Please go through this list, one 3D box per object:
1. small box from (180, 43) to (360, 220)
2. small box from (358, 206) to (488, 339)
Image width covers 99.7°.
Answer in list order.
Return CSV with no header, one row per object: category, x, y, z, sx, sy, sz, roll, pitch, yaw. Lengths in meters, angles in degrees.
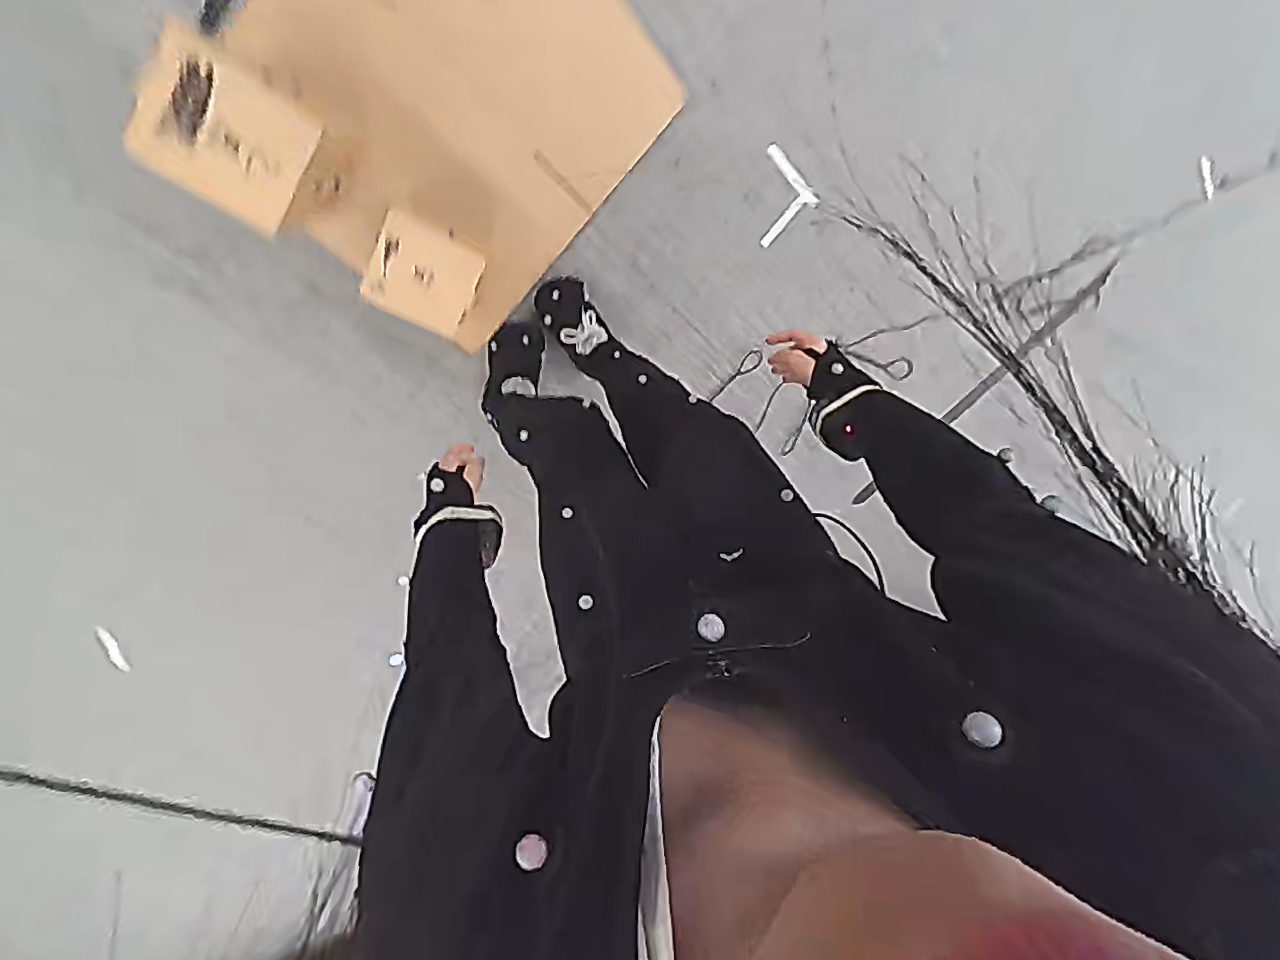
small box,-0.591,-0.556,0.886,0.179,0.176,0.168,26,109,-28
small box,-0.406,-0.400,1.029,0.179,0.176,0.168,22,110,-27
